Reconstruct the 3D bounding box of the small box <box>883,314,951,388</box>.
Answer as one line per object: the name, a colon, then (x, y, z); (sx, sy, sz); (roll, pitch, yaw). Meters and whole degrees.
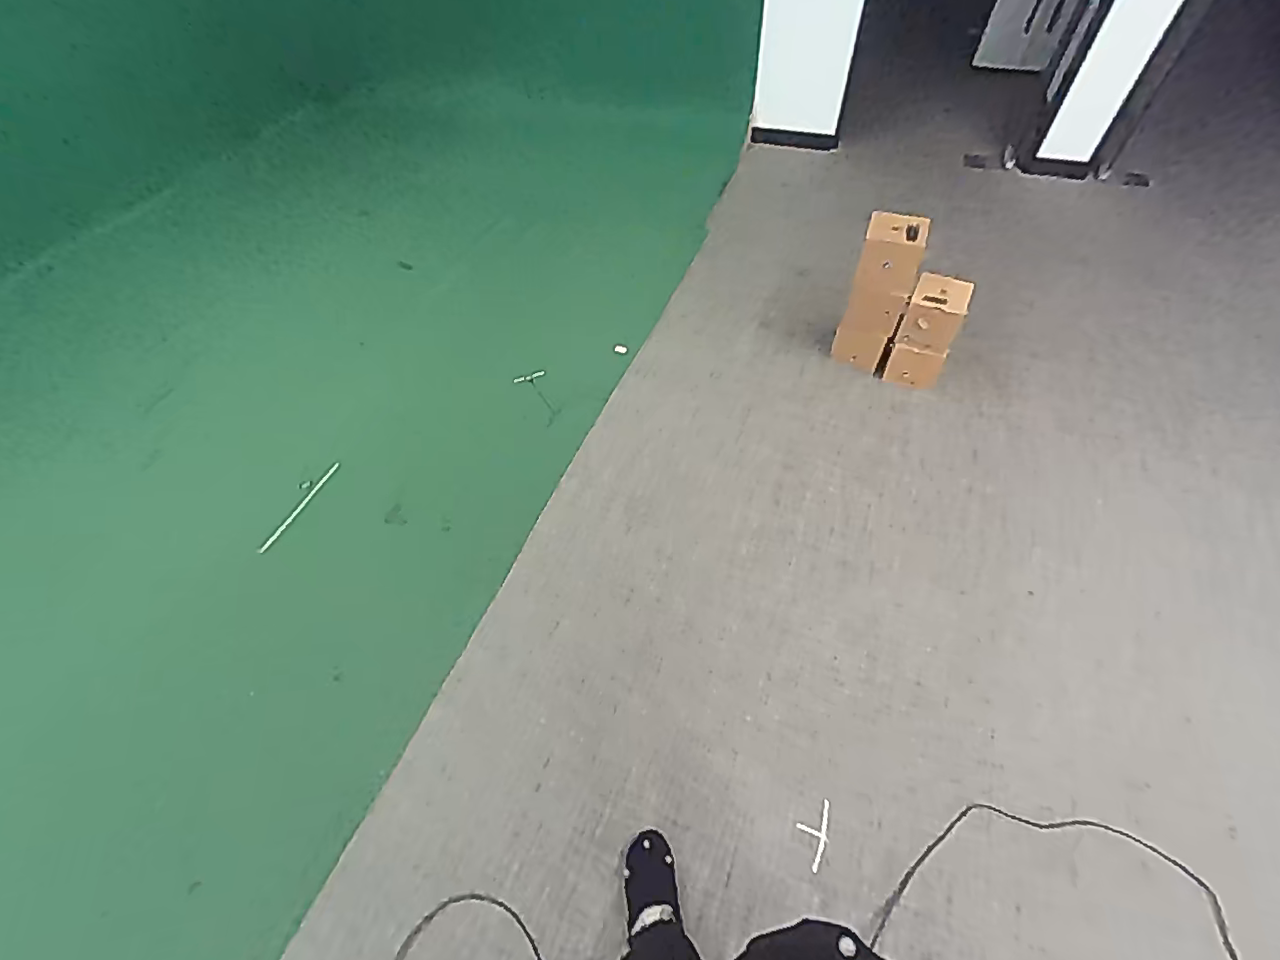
small box: (0.986, -0.461, 1.936); (0.168, 0.176, 0.179); (17, 59, 16)
